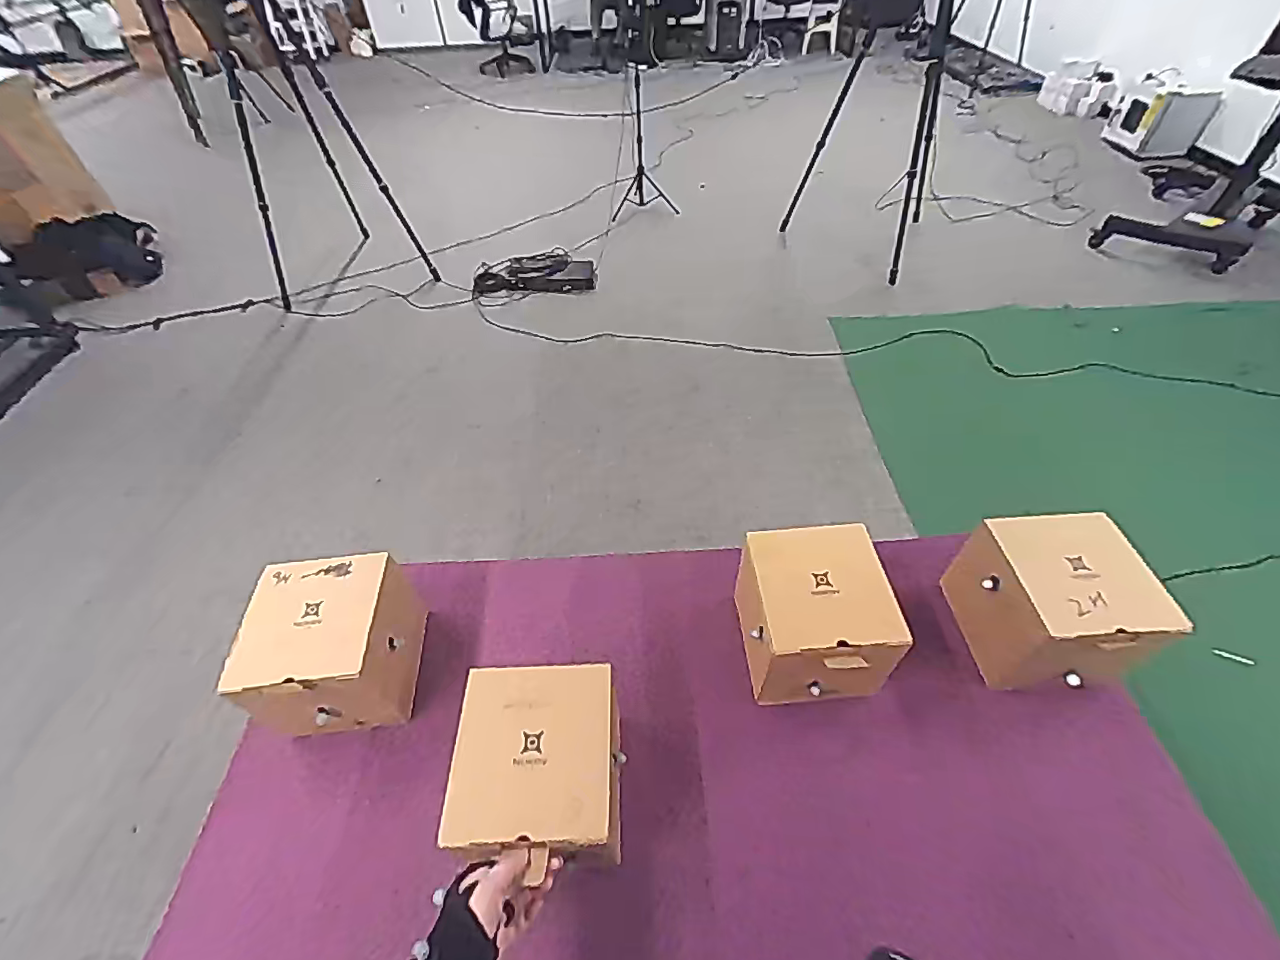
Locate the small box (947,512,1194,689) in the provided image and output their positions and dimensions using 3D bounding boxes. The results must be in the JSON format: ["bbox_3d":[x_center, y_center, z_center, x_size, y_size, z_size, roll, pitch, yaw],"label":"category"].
[{"bbox_3d":[0.553,0.164,0.732,0.168,0.176,0.179,-4,49,2],"label":"small box"}]

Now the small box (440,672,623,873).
[{"bbox_3d":[-0.106,0.339,0.622,0.168,0.176,0.179,-2,48,1],"label":"small box"}]

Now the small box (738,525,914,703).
[{"bbox_3d":[0.235,0.184,0.740,0.168,0.176,0.179,-5,49,-1],"label":"small box"}]

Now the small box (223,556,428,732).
[{"bbox_3d":[-0.406,0.228,0.738,0.168,0.176,0.179,-6,49,-3],"label":"small box"}]
